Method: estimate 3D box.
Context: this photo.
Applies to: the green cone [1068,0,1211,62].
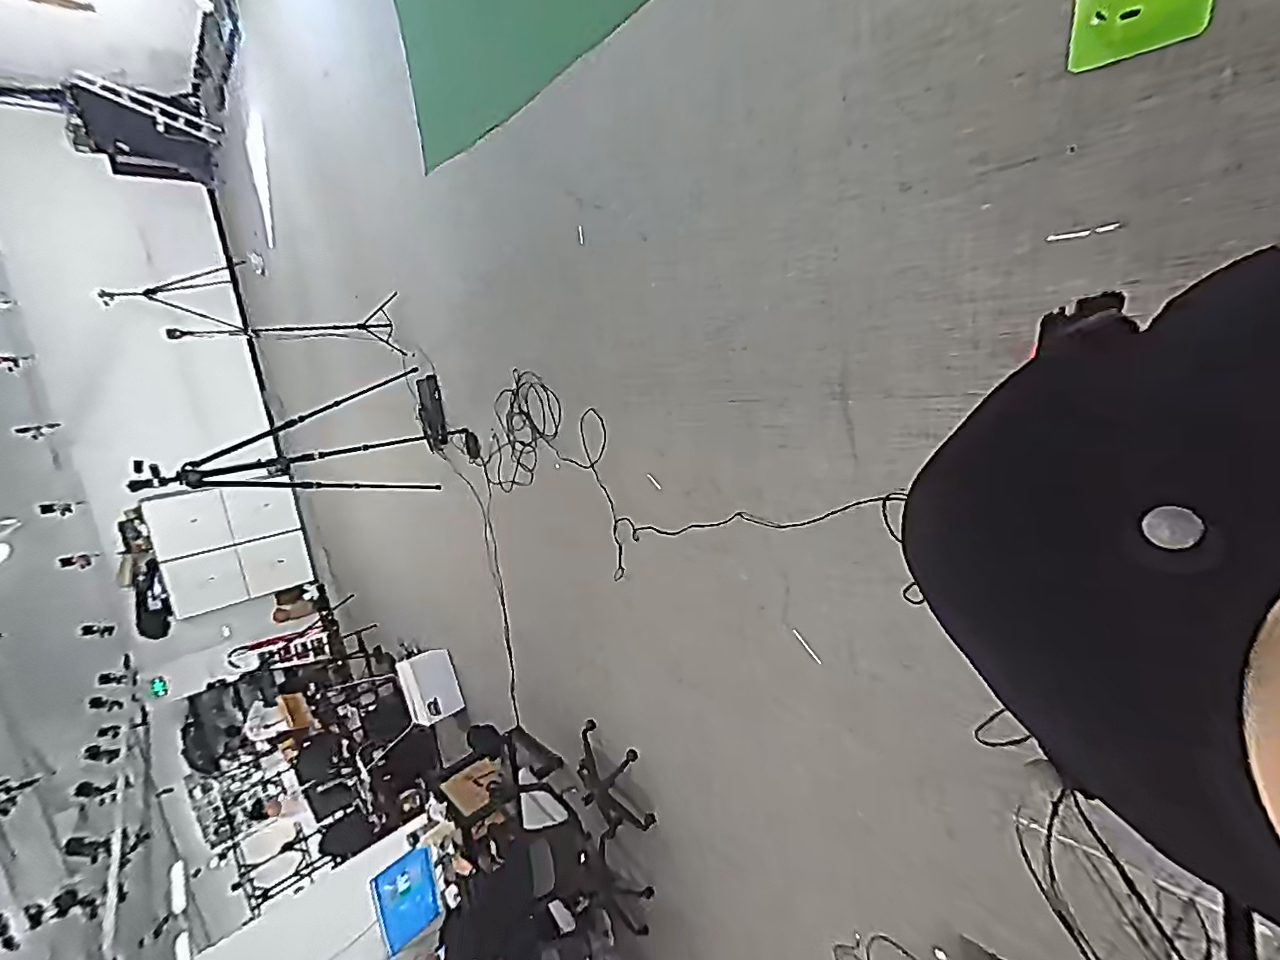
[{"bbox_3d":[0.795,-0.875,0.884,0.200,0.368,0.202,11,112,47],"label":"green cone"}]
